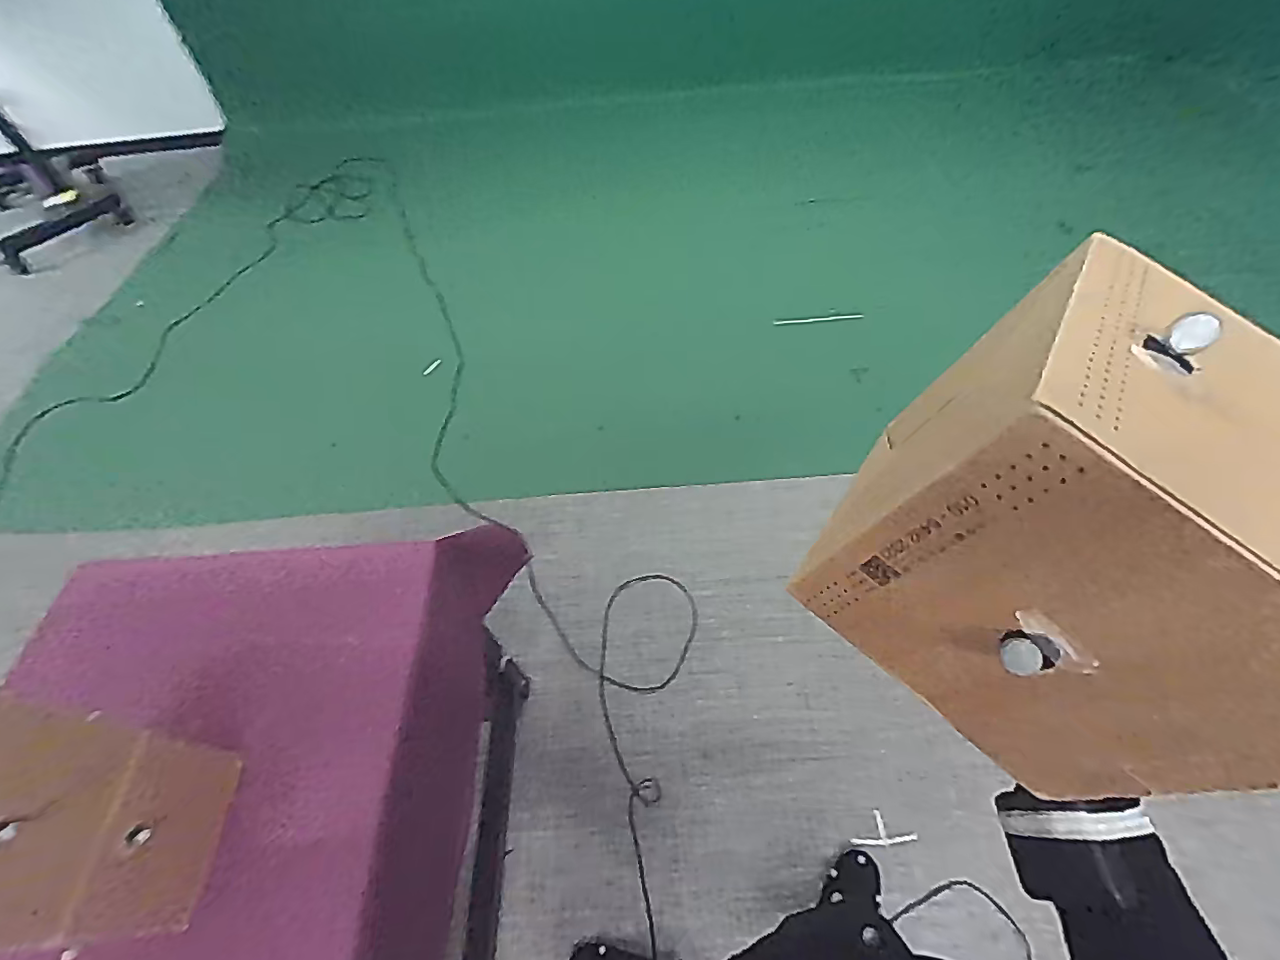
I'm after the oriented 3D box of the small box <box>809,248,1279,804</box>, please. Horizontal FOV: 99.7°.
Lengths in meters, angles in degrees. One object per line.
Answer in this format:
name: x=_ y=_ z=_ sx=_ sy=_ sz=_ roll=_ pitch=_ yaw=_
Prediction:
small box: x=0.217 y=0.020 z=0.270 sx=0.176 sy=0.168 sz=0.179 roll=41 pitch=54 yaw=10
